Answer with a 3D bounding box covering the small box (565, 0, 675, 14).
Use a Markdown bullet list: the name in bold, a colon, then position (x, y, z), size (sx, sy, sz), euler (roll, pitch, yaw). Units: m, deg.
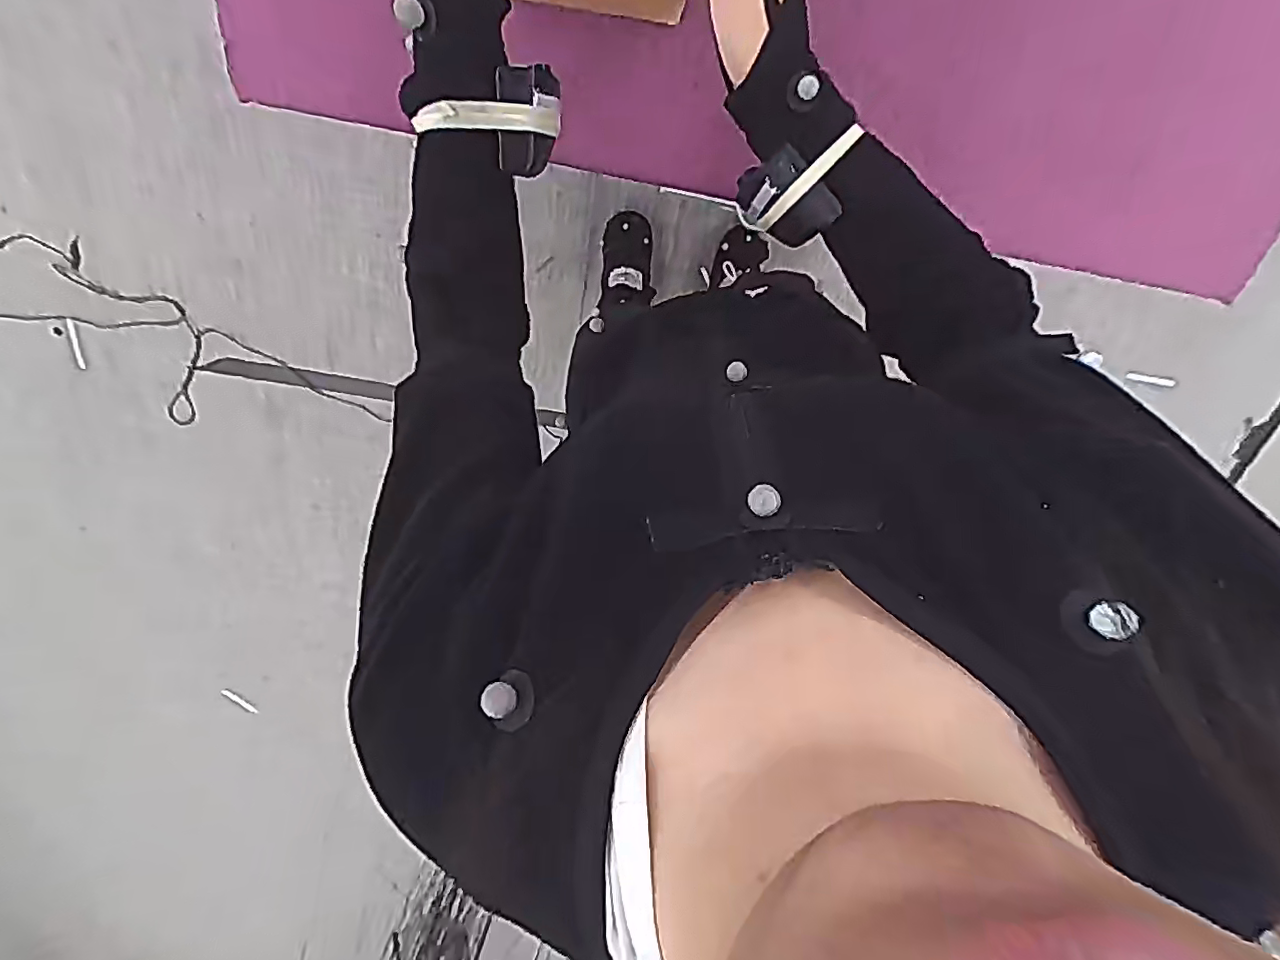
- **small box**: position (-0.034, -0.511, 0.435), size (0.179, 0.176, 0.168), euler (6, 117, -4)
